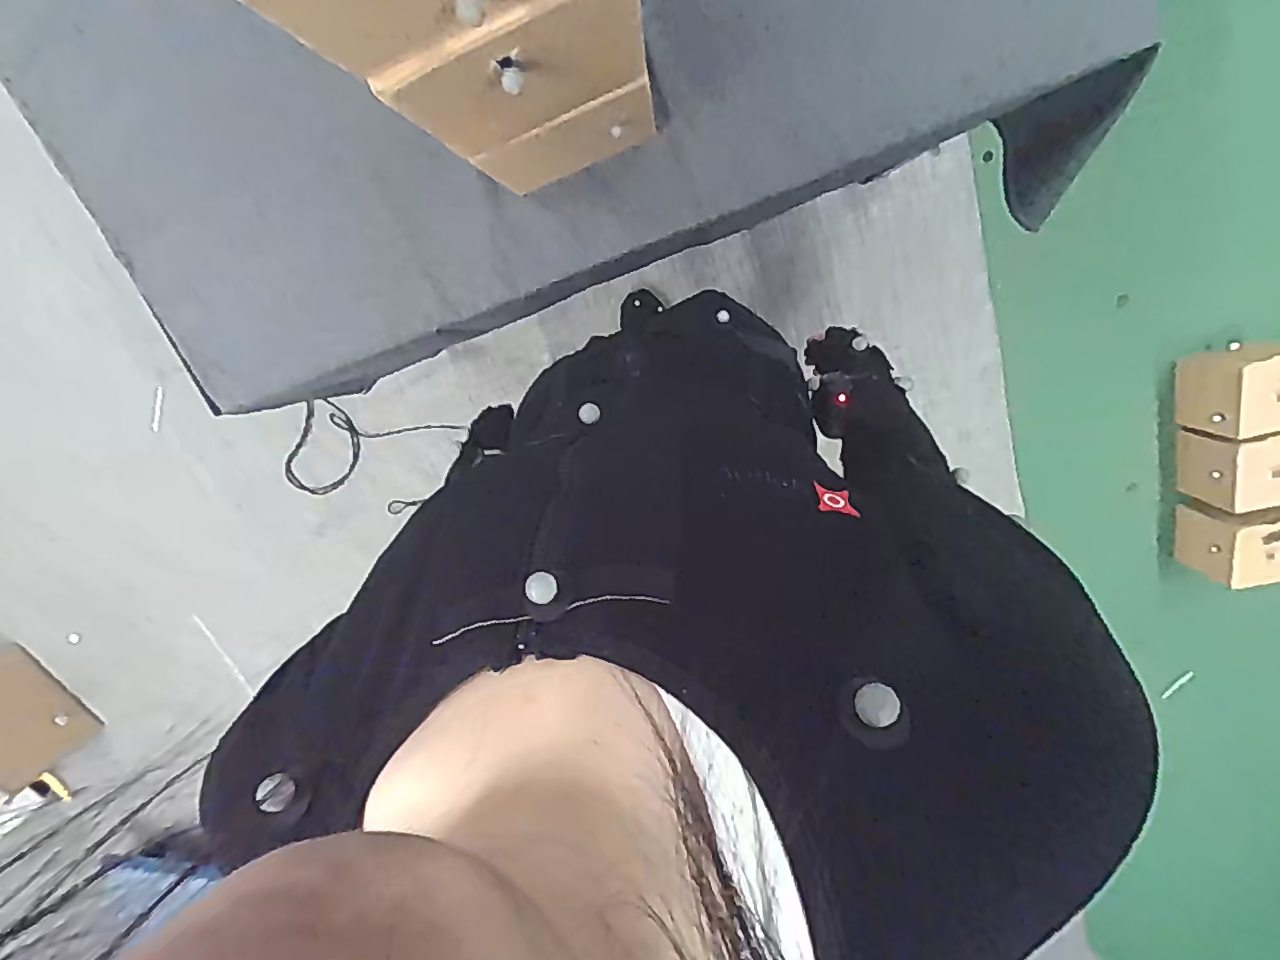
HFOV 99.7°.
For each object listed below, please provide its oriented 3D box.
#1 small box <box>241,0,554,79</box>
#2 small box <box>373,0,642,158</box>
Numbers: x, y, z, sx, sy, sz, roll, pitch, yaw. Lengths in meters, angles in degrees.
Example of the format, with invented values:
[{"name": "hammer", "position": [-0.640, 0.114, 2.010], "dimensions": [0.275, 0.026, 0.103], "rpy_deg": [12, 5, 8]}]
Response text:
[{"name": "small box", "position": [-0.119, -0.314, 0.222], "dimensions": [0.179, 0.176, 0.168], "rpy_deg": [-17, 106, 9]}, {"name": "small box", "position": [-0.104, -0.361, 0.379], "dimensions": [0.179, 0.176, 0.168], "rpy_deg": [-19, 106, 10]}]
